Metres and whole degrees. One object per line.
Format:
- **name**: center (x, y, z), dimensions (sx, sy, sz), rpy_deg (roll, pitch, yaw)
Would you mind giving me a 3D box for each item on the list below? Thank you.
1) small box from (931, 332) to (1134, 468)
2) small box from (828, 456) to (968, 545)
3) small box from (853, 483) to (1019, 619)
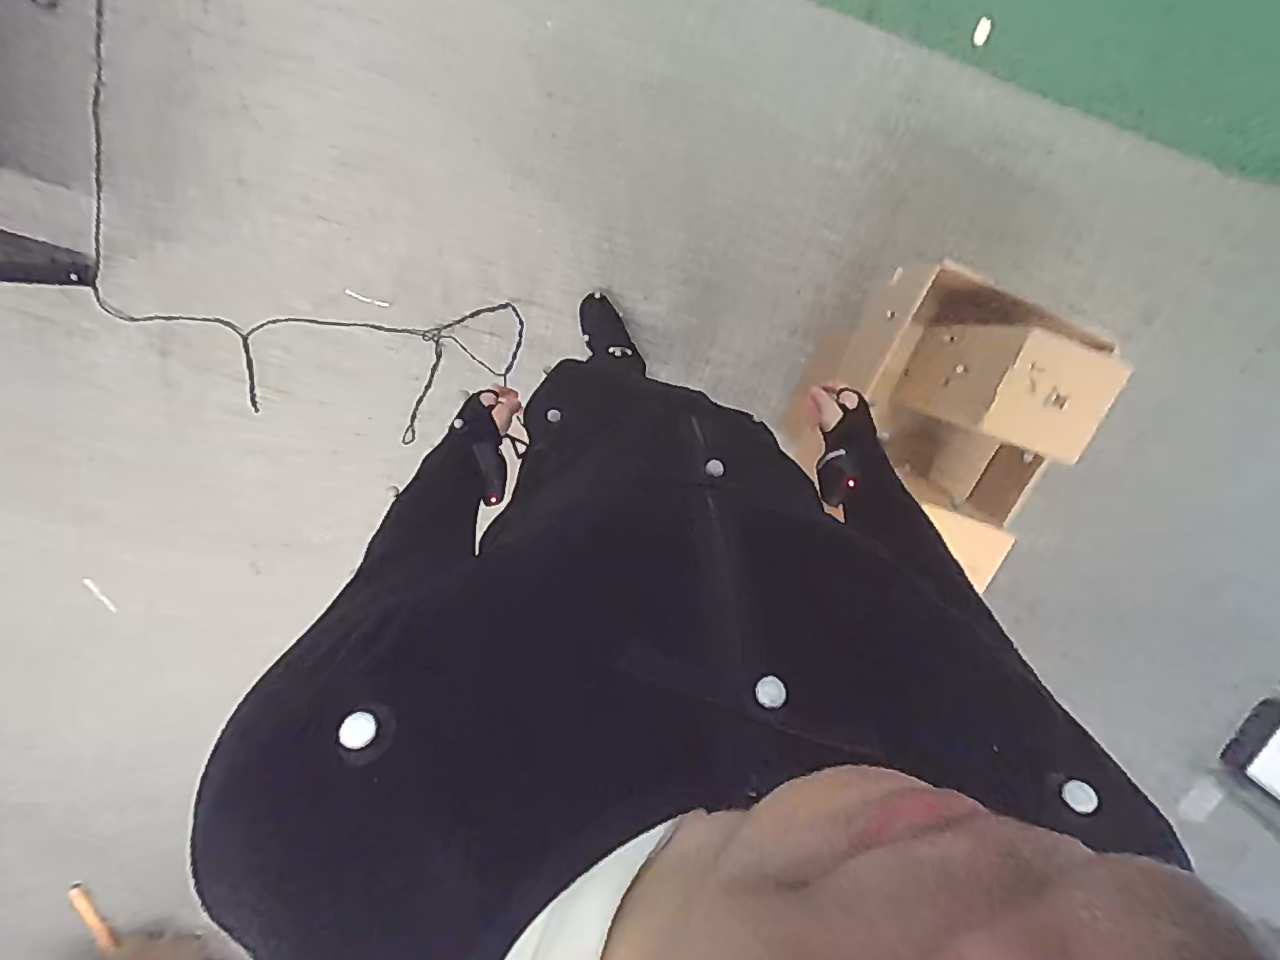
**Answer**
- **small box**: center (0.634, -0.142, 0.899), dimensions (0.179, 0.176, 0.168), rpy_deg (20, 105, -5)
- **small box**: center (0.530, 0.067, 1.137), dimensions (0.179, 0.176, 0.168), rpy_deg (24, 106, -5)
- **small box**: center (0.518, 0.118, 0.981), dimensions (0.179, 0.176, 0.168), rpy_deg (19, 107, -4)
